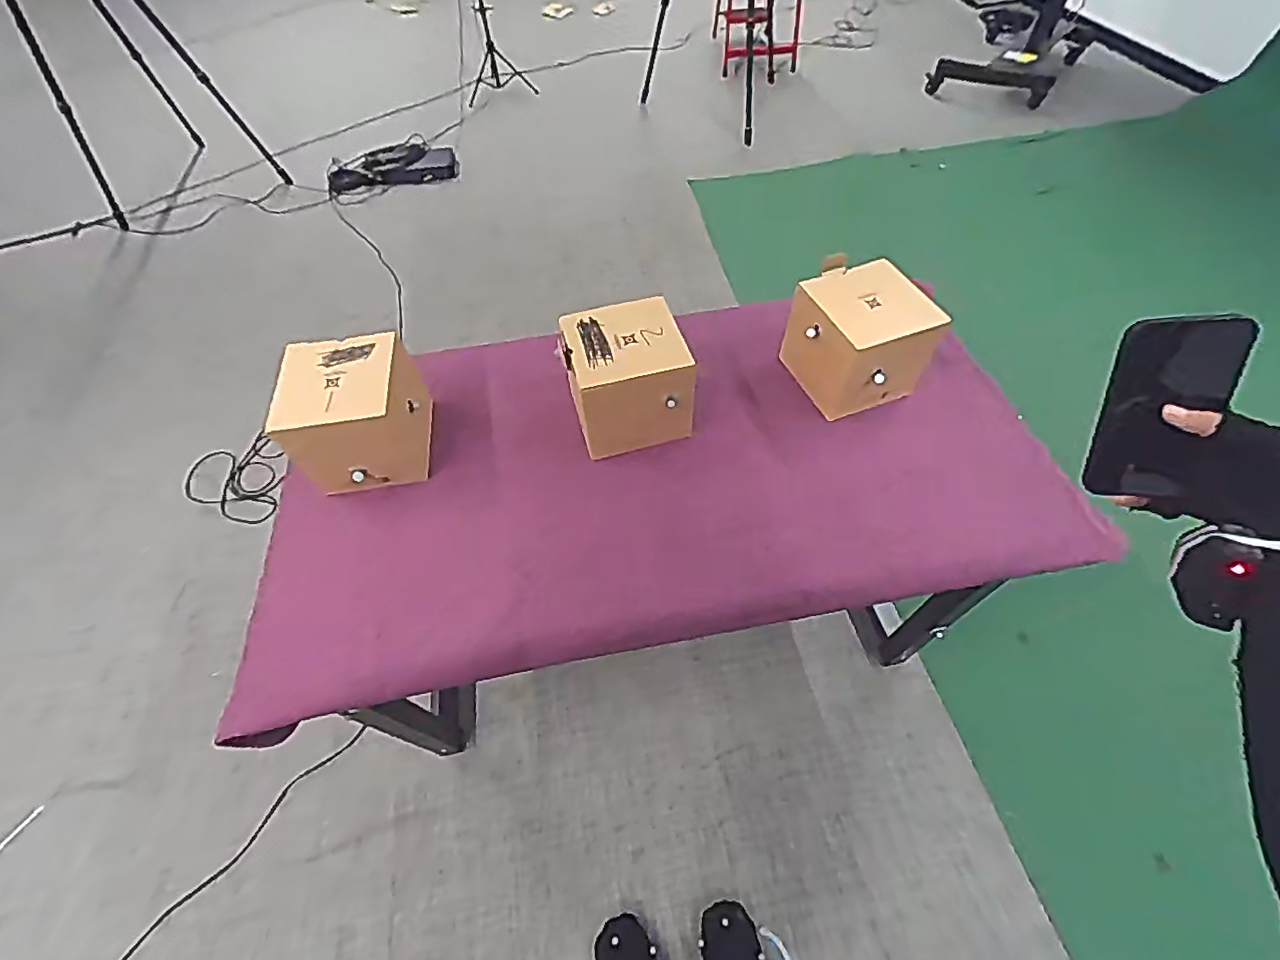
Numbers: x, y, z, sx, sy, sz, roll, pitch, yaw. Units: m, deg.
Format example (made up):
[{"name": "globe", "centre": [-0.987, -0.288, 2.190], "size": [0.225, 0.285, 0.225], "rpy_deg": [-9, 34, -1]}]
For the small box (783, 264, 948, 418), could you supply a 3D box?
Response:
[{"name": "small box", "centre": [0.362, -0.224, 0.907], "size": [0.168, 0.176, 0.179], "rpy_deg": [-18, 56, -9]}]

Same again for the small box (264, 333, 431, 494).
[{"name": "small box", "centre": [-0.440, -0.101, 0.849], "size": [0.168, 0.176, 0.179], "rpy_deg": [-8, 57, -4]}]
